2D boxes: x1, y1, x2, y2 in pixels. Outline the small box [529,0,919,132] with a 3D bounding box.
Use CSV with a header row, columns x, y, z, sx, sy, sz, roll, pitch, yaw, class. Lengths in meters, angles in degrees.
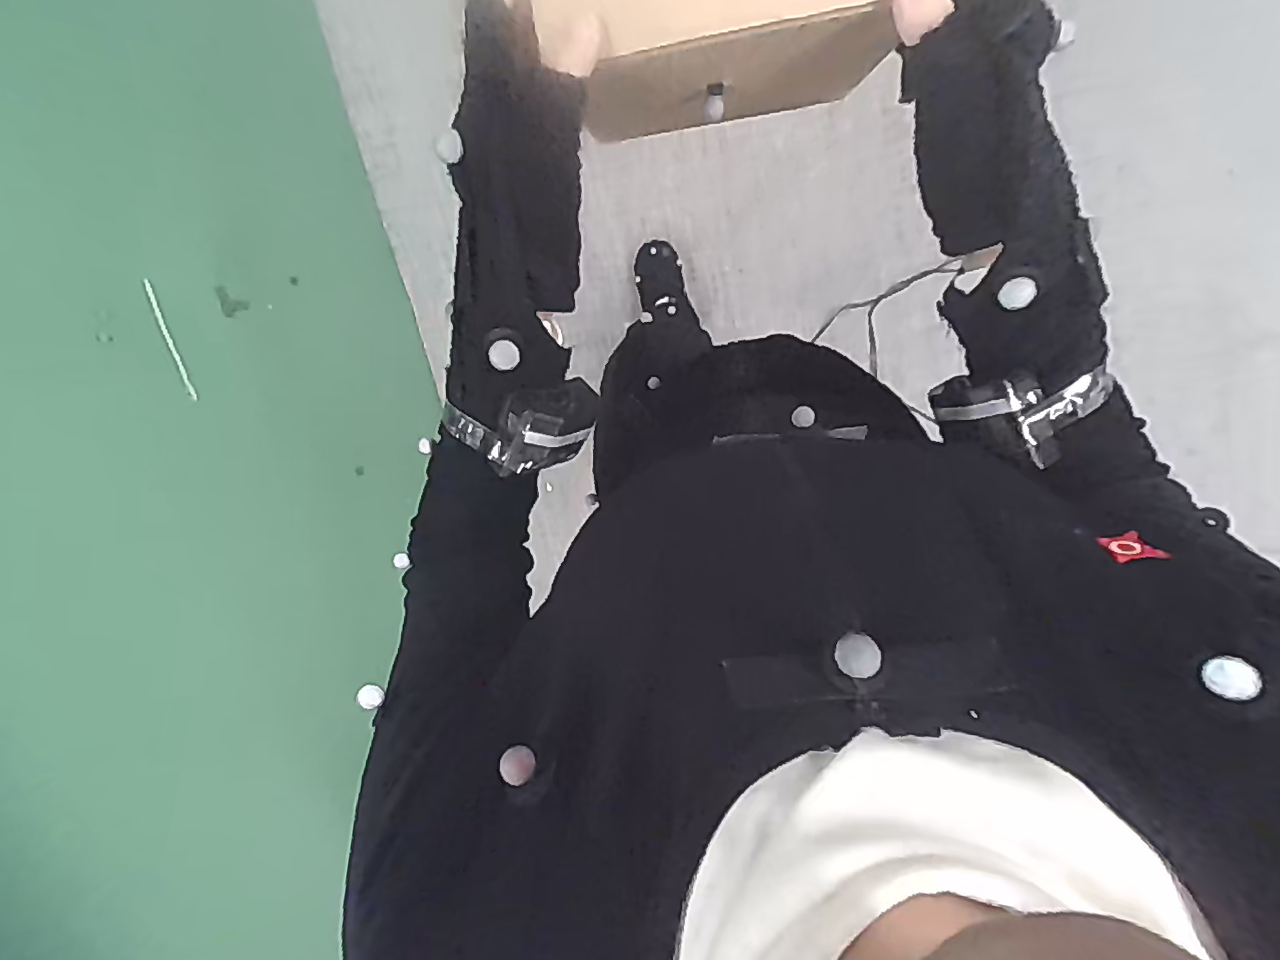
x,y,z,sx,sy,sz,roll,pitch,yaw,class
0.036,-0.305,0.284,0.179,0.176,0.168,-5,111,9,small box
